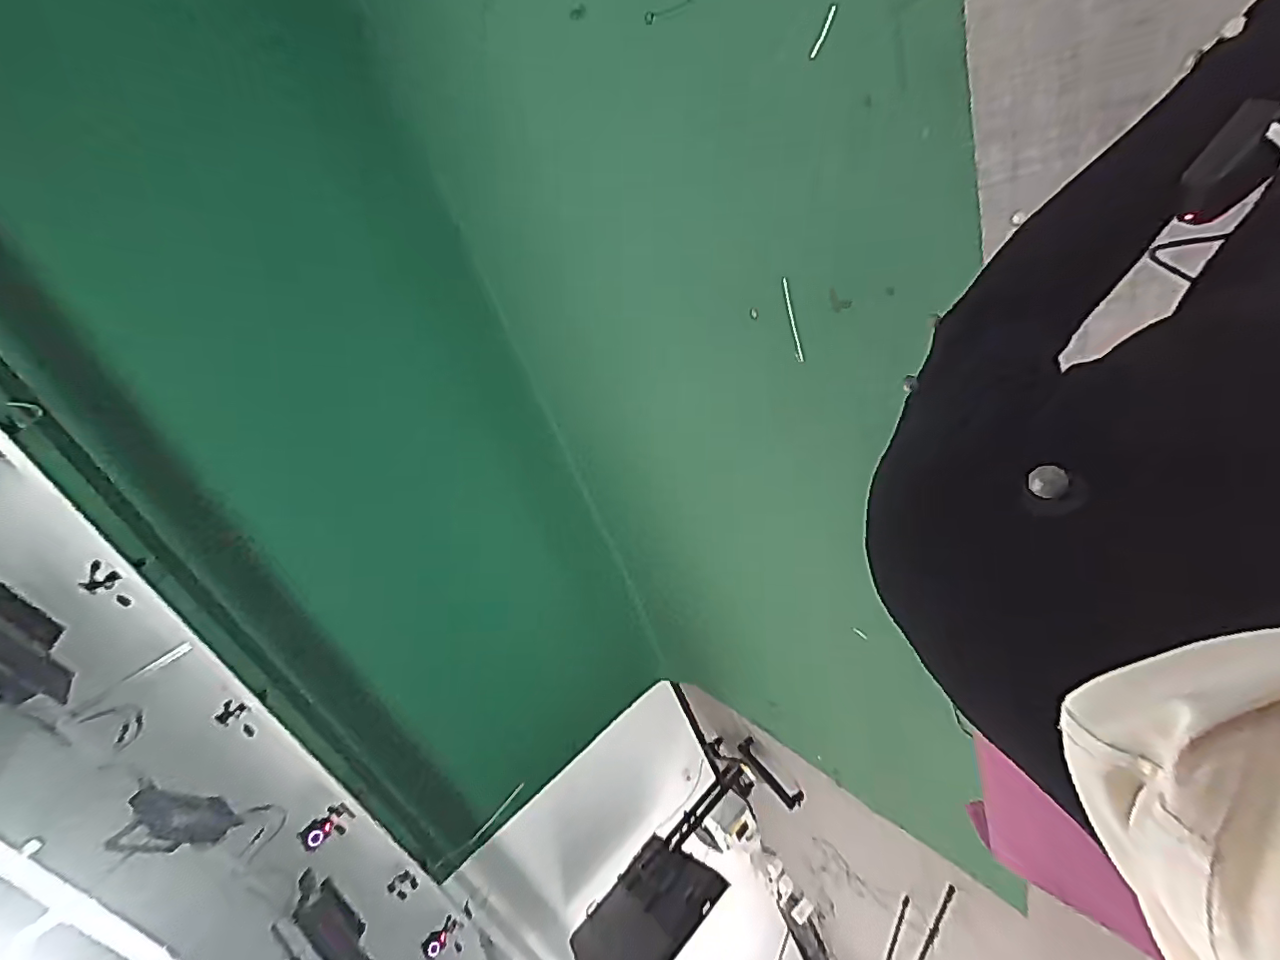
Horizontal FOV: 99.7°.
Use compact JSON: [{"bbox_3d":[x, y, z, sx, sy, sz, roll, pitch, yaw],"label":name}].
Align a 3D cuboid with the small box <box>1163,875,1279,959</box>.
[{"bbox_3d":[1.086,0.884,0.981,0.168,0.176,0.179,9,128,55],"label":"small box"}]
